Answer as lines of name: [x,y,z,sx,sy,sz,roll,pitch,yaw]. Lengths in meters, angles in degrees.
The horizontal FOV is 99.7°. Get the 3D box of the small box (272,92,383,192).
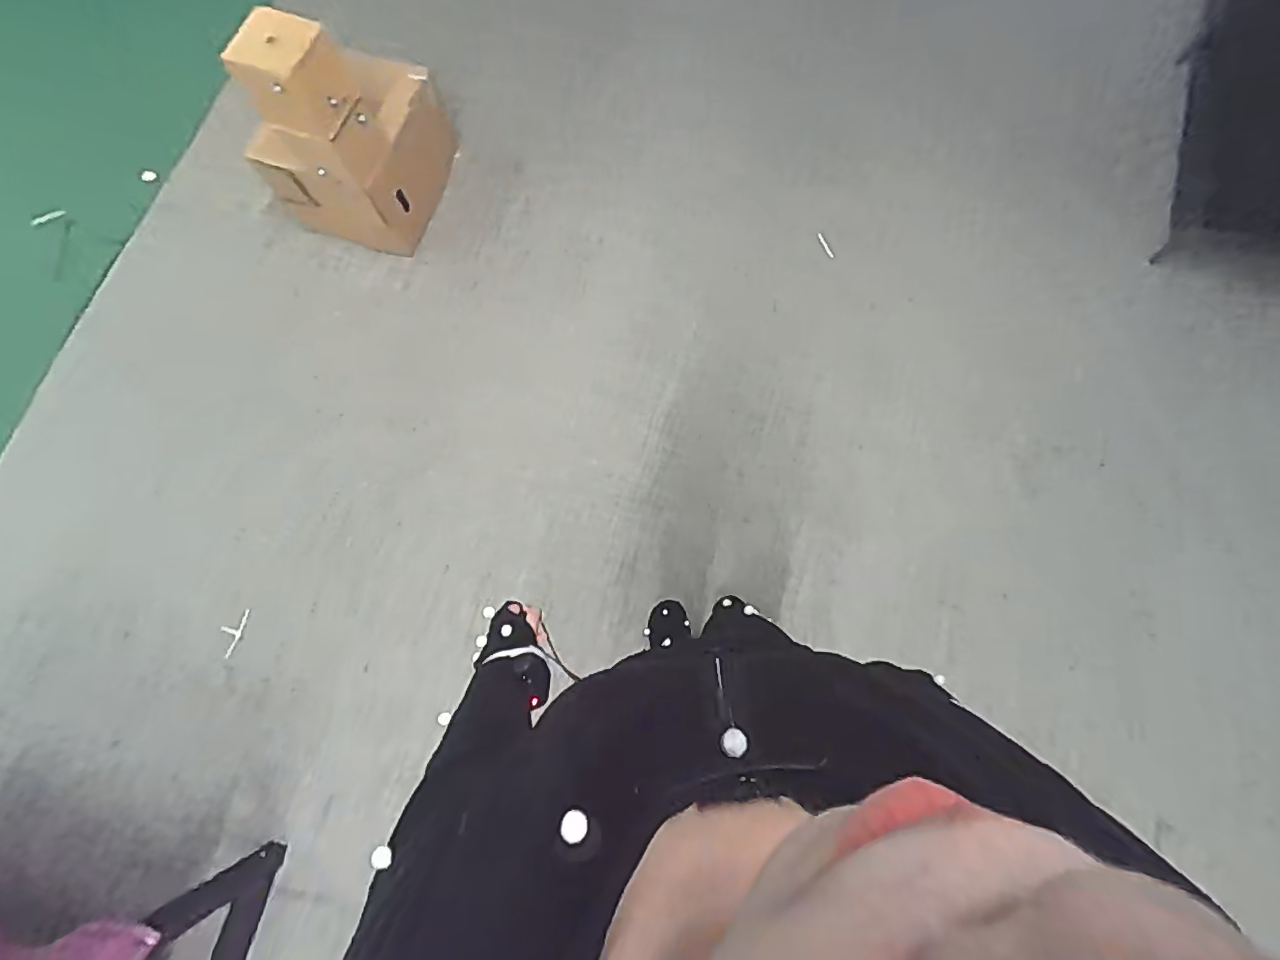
small box: [-0.826,-0.922,1.454,0.168,0.176,0.179,19,77,6]

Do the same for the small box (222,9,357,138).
small box: [-0.827,-0.964,1.296,0.179,0.176,0.168,20,77,5]
